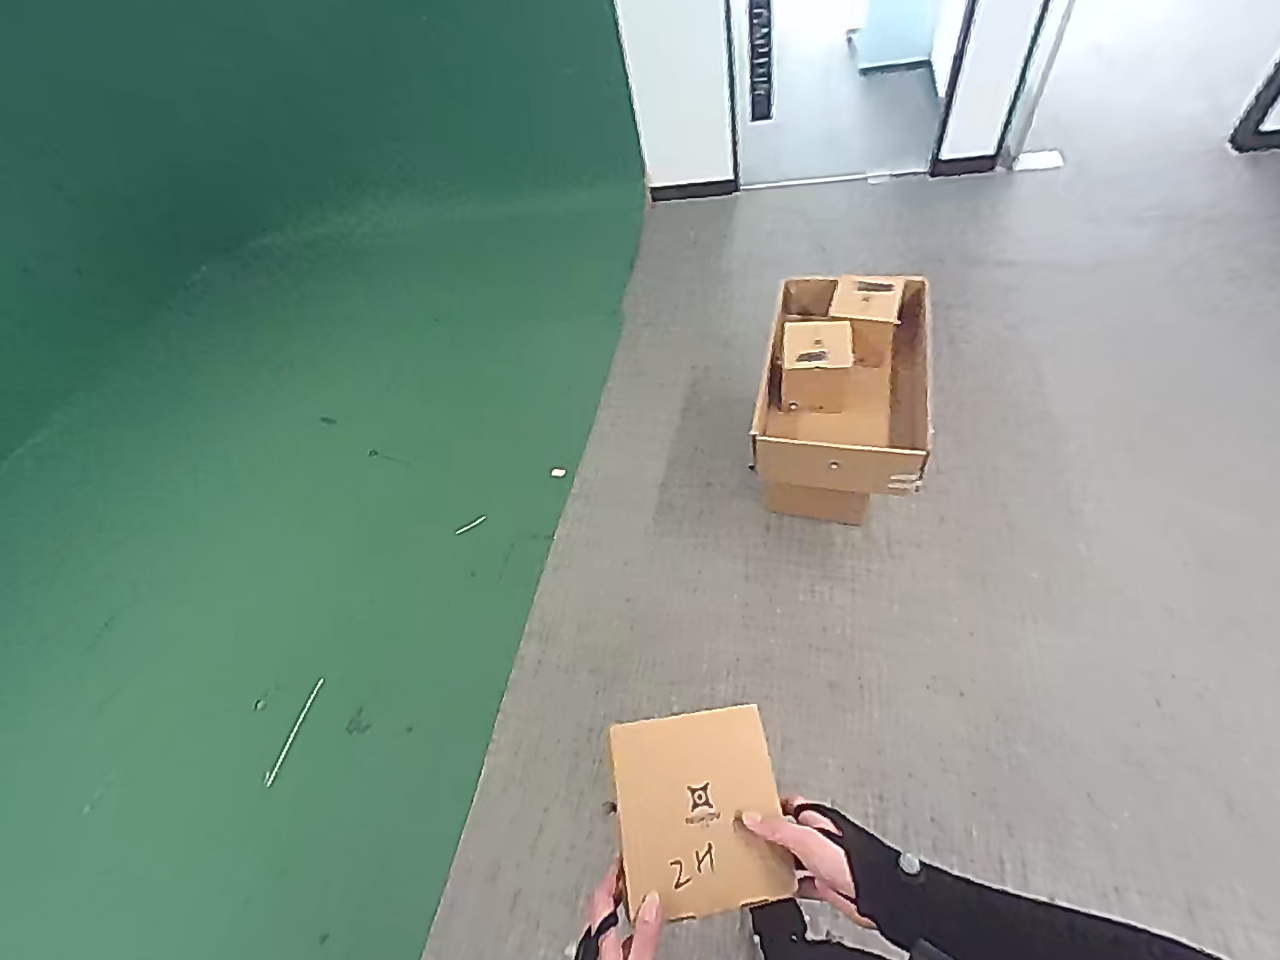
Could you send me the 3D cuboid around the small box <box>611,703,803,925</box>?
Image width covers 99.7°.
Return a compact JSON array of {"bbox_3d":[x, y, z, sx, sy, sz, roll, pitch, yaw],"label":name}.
[{"bbox_3d":[0.058,0.360,0.608,0.168,0.176,0.179,-3,63,-8],"label":"small box"}]
